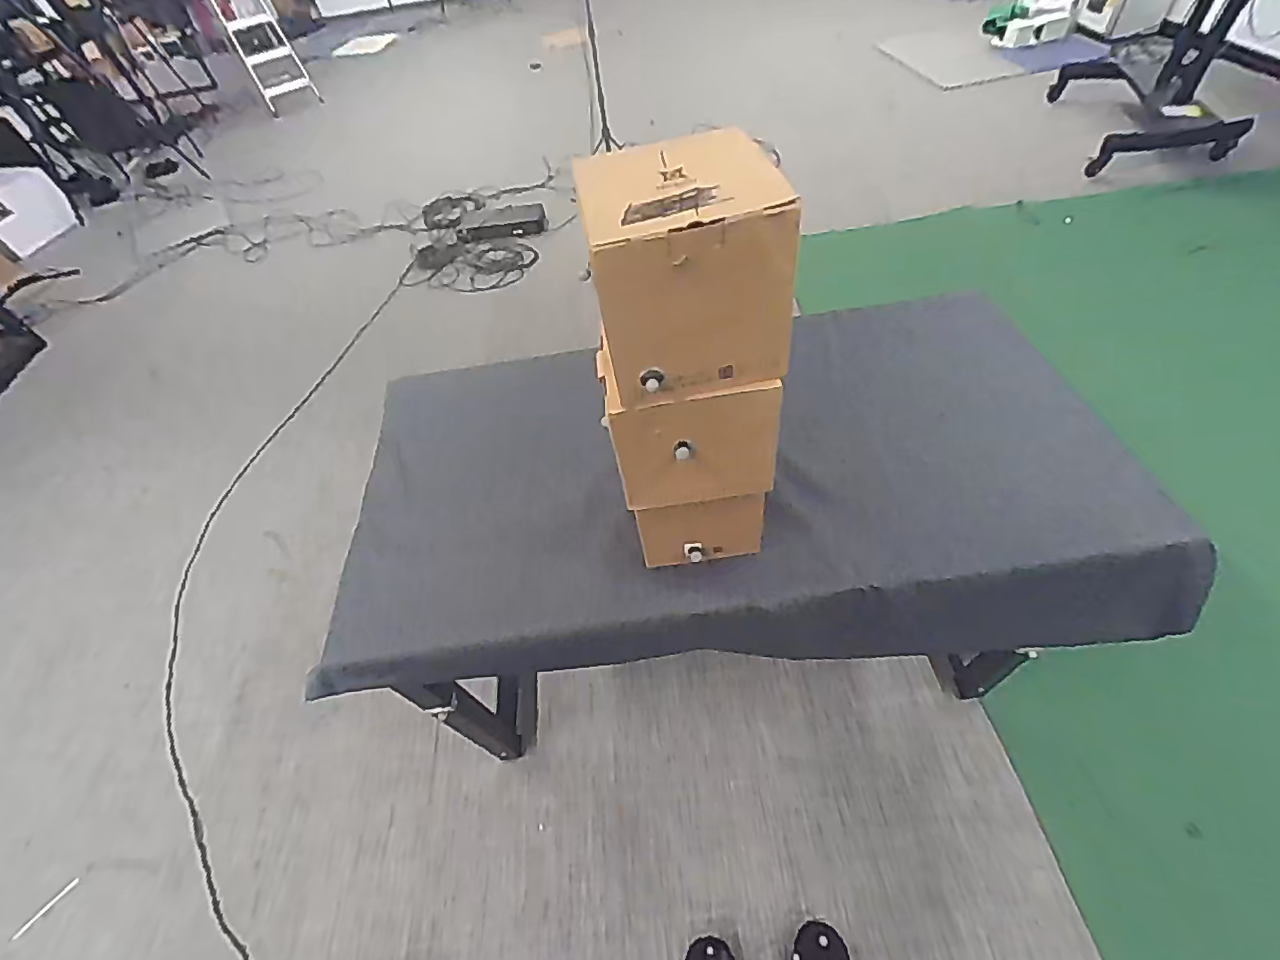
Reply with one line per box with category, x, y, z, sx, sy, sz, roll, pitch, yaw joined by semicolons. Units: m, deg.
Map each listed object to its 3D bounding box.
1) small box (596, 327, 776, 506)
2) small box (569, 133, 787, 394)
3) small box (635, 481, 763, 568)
small box;0.053;-0.087;0.648;0.179;0.176;0.168;-10;48;0
small box;0.035;-0.201;0.526;0.168;0.176;0.179;-12;49;0
small box;0.072;0.002;0.781;0.168;0.176;0.179;-11;51;2
